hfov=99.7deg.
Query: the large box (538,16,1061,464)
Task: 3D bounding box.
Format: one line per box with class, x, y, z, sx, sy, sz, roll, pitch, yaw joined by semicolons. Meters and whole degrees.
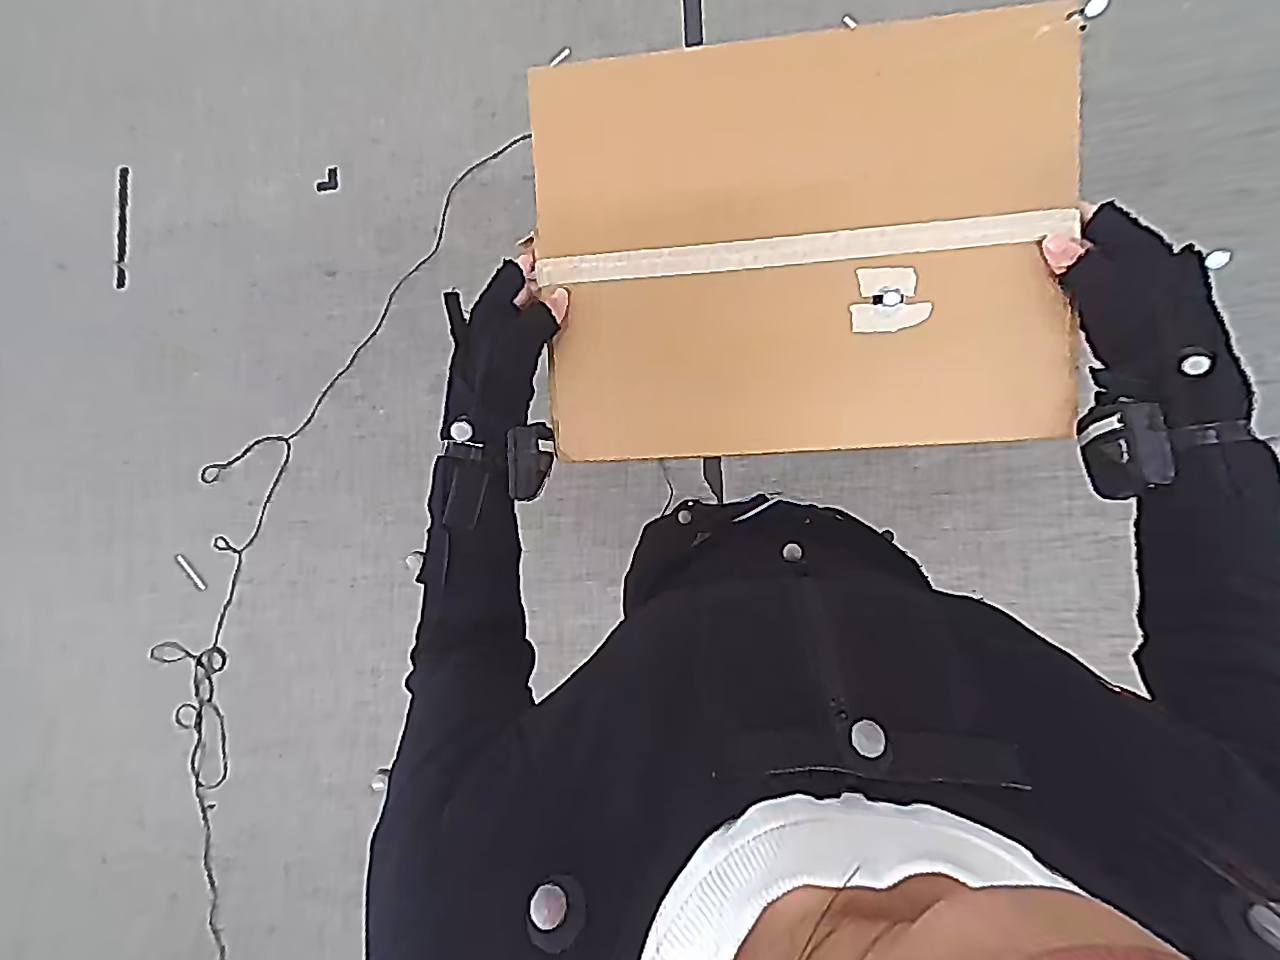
large box;0.135;-0.193;0.580;0.408;0.320;0.320;-3;96;5
